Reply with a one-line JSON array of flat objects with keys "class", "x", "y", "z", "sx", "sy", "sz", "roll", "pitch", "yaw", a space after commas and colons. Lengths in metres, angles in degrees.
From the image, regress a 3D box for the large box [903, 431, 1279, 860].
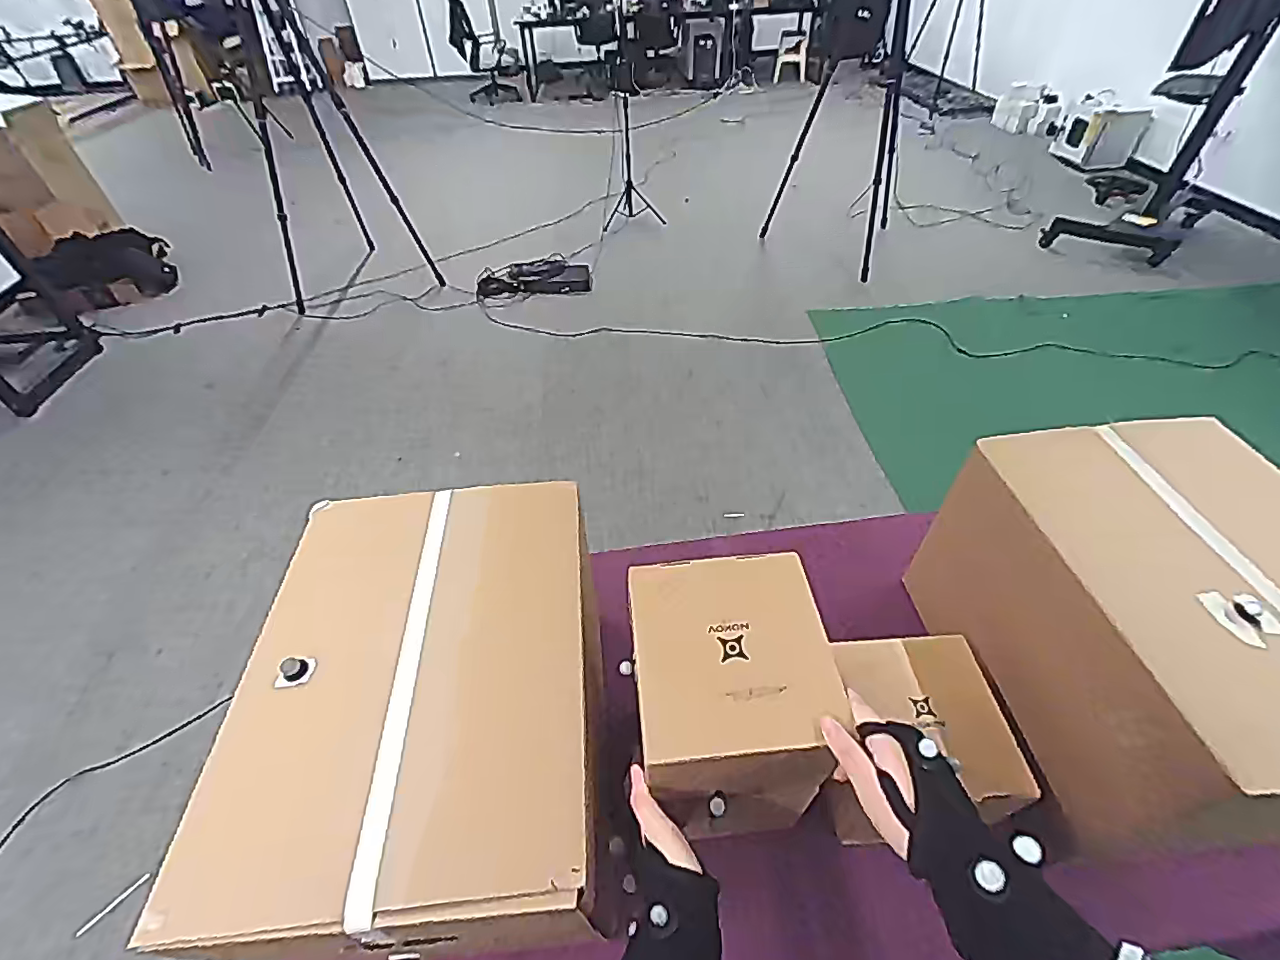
[{"class": "large box", "x": 0.596, "y": 0.190, "z": 0.664, "sx": 0.320, "sy": 0.320, "sz": 0.408, "roll": -4, "pitch": 47, "yaw": -1}]
